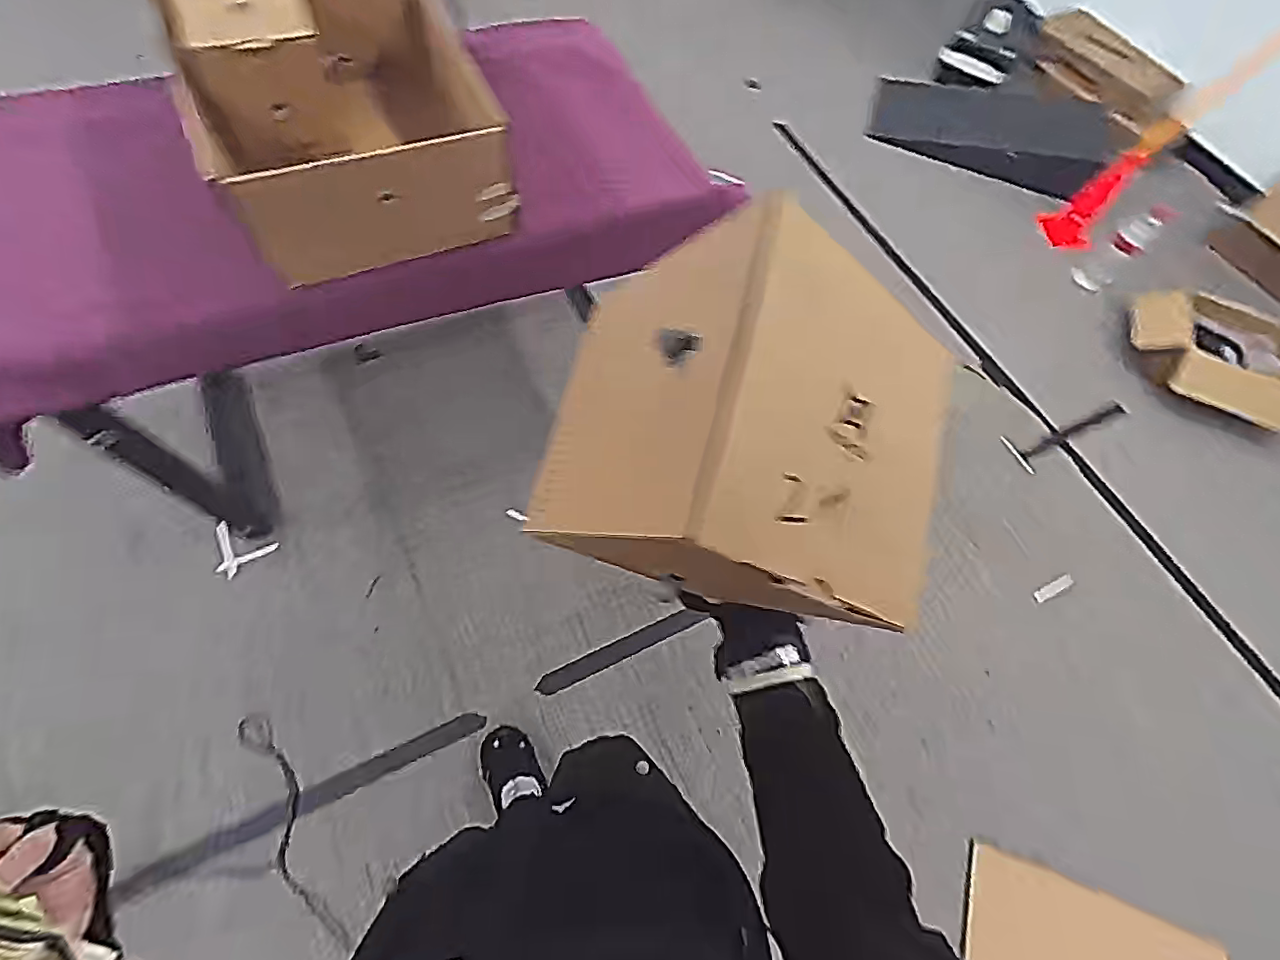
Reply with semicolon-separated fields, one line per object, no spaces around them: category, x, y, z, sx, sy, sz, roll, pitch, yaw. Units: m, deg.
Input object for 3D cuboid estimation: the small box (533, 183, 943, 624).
small box;0.054;-0.027;0.336;0.168;0.176;0.179;24;74;-30
